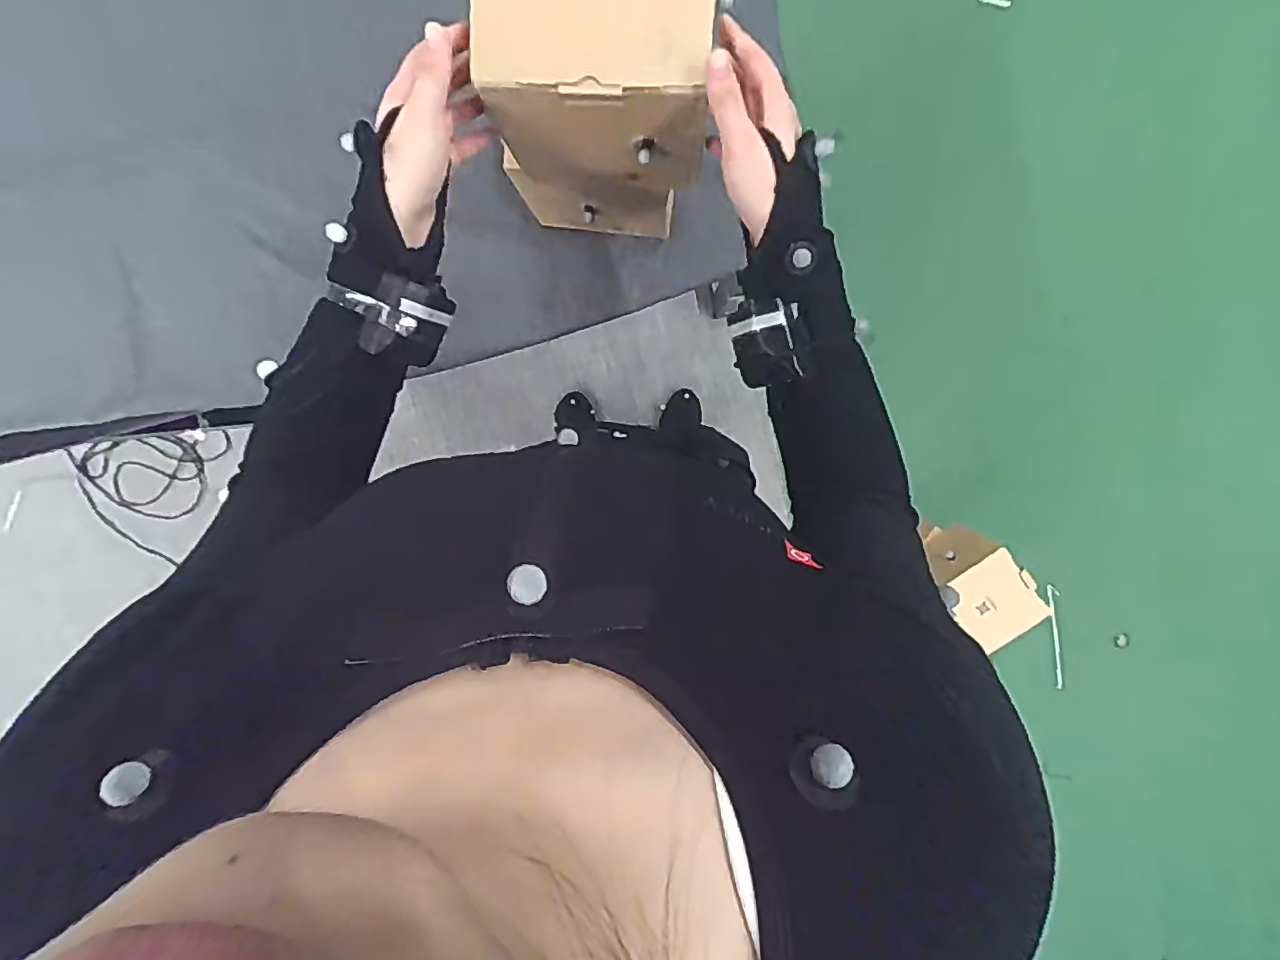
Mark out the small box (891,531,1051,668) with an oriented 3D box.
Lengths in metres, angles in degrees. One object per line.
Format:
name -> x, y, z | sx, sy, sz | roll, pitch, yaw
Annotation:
small box -> 0.643, 0.226, 1.074 | 0.179, 0.176, 0.168 | -38, 95, 8

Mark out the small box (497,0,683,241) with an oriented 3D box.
small box -> -0.045, -0.380, 0.592 | 0.168, 0.176, 0.179 | 7, 98, 2
